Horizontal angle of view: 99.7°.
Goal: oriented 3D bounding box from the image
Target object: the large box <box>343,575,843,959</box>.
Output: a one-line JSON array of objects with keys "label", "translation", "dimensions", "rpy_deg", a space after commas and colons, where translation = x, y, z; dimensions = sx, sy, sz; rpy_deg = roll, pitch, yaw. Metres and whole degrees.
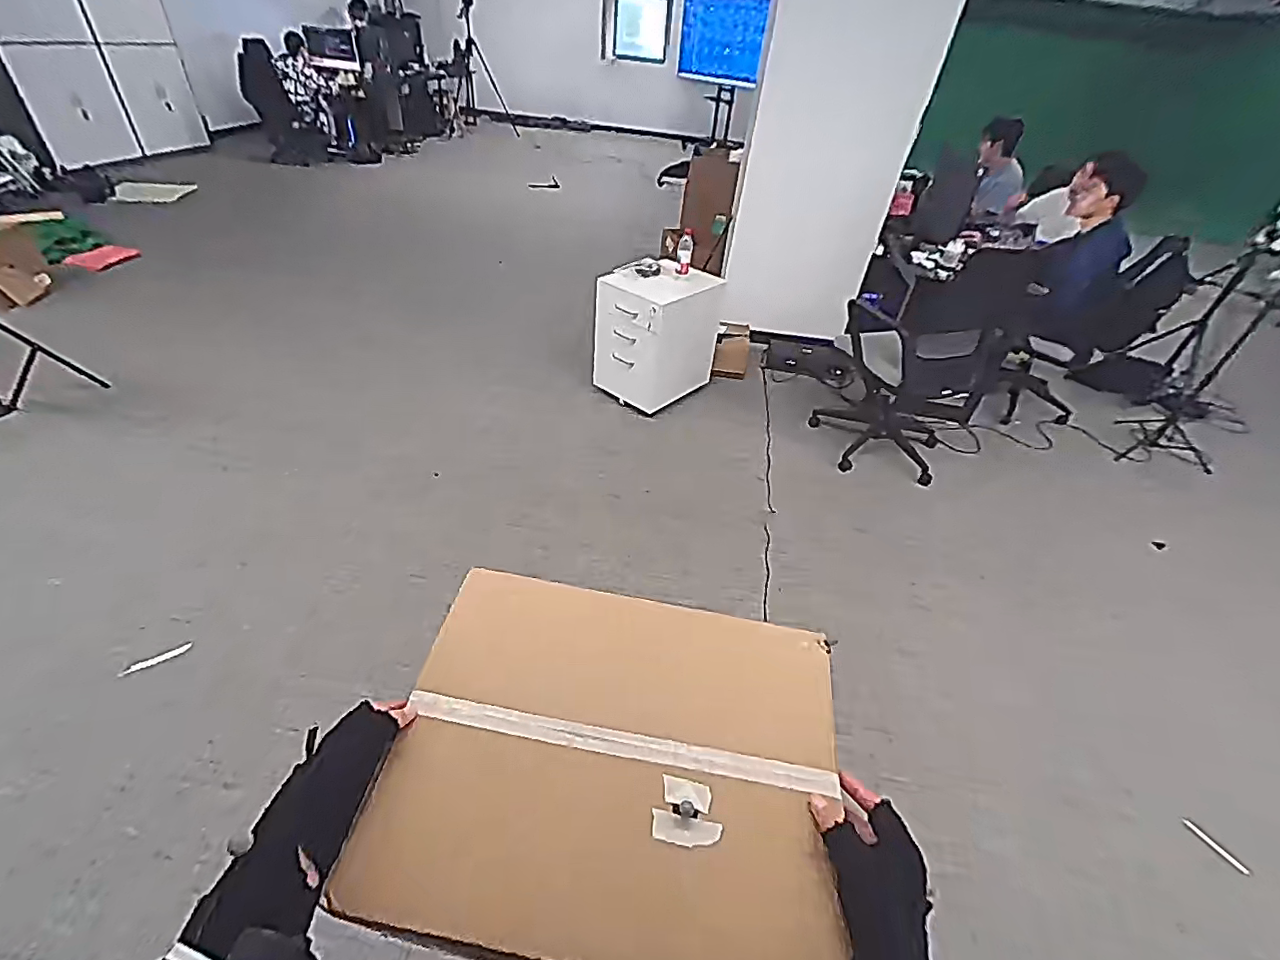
[{"label": "large box", "translation": [-0.034, 0.350, 0.625], "dimensions": [0.408, 0.320, 0.320], "rpy_deg": [10, 47, 3]}]
